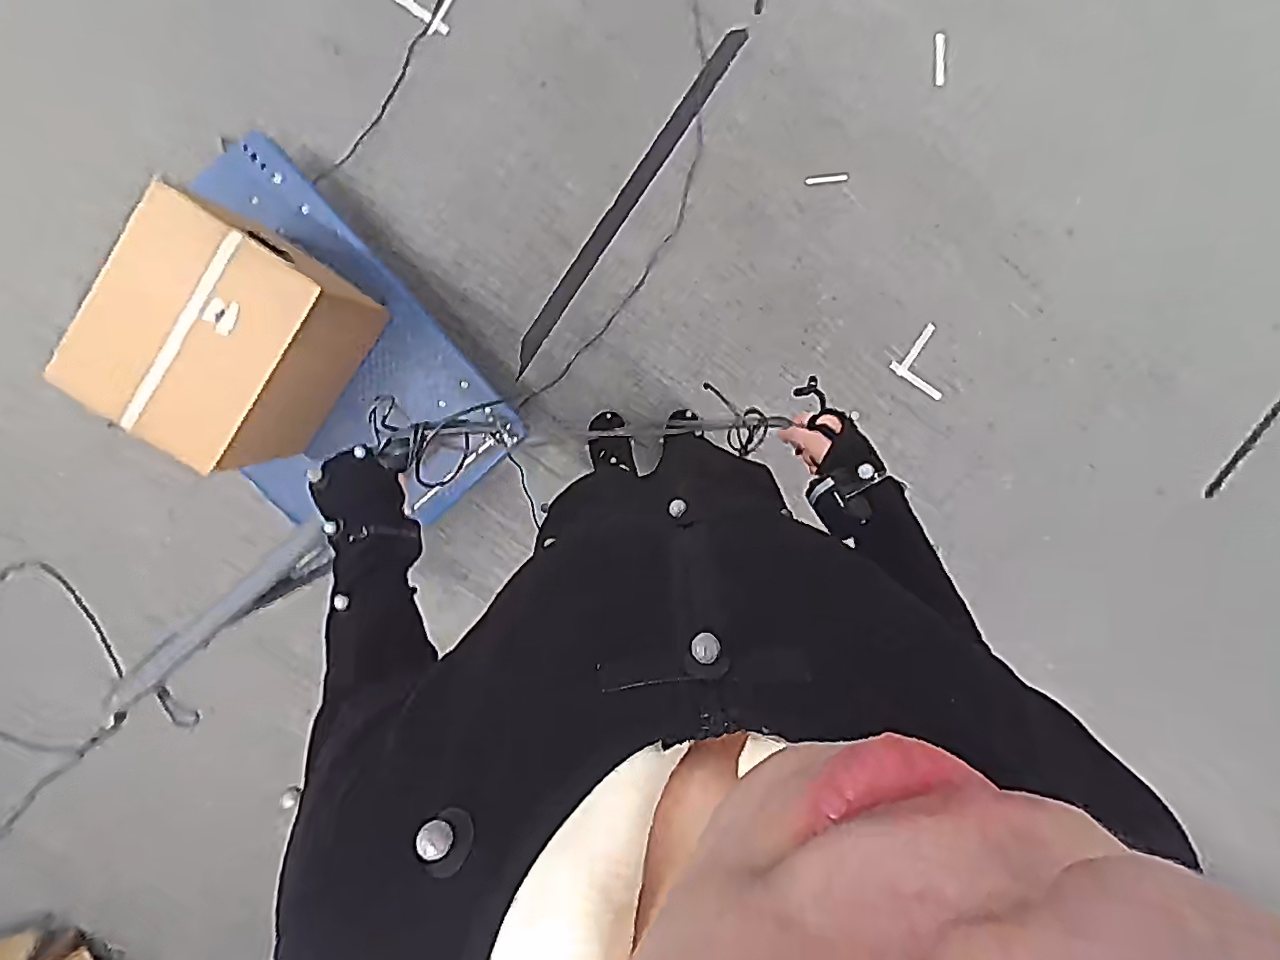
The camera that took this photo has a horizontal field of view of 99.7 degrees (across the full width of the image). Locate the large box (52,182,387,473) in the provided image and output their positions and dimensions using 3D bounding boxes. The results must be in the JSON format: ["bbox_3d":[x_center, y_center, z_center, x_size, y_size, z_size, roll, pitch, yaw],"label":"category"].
[{"bbox_3d":[-0.797,-0.273,1.083,0.320,0.320,0.408,34,95,-8],"label":"large box"}]
